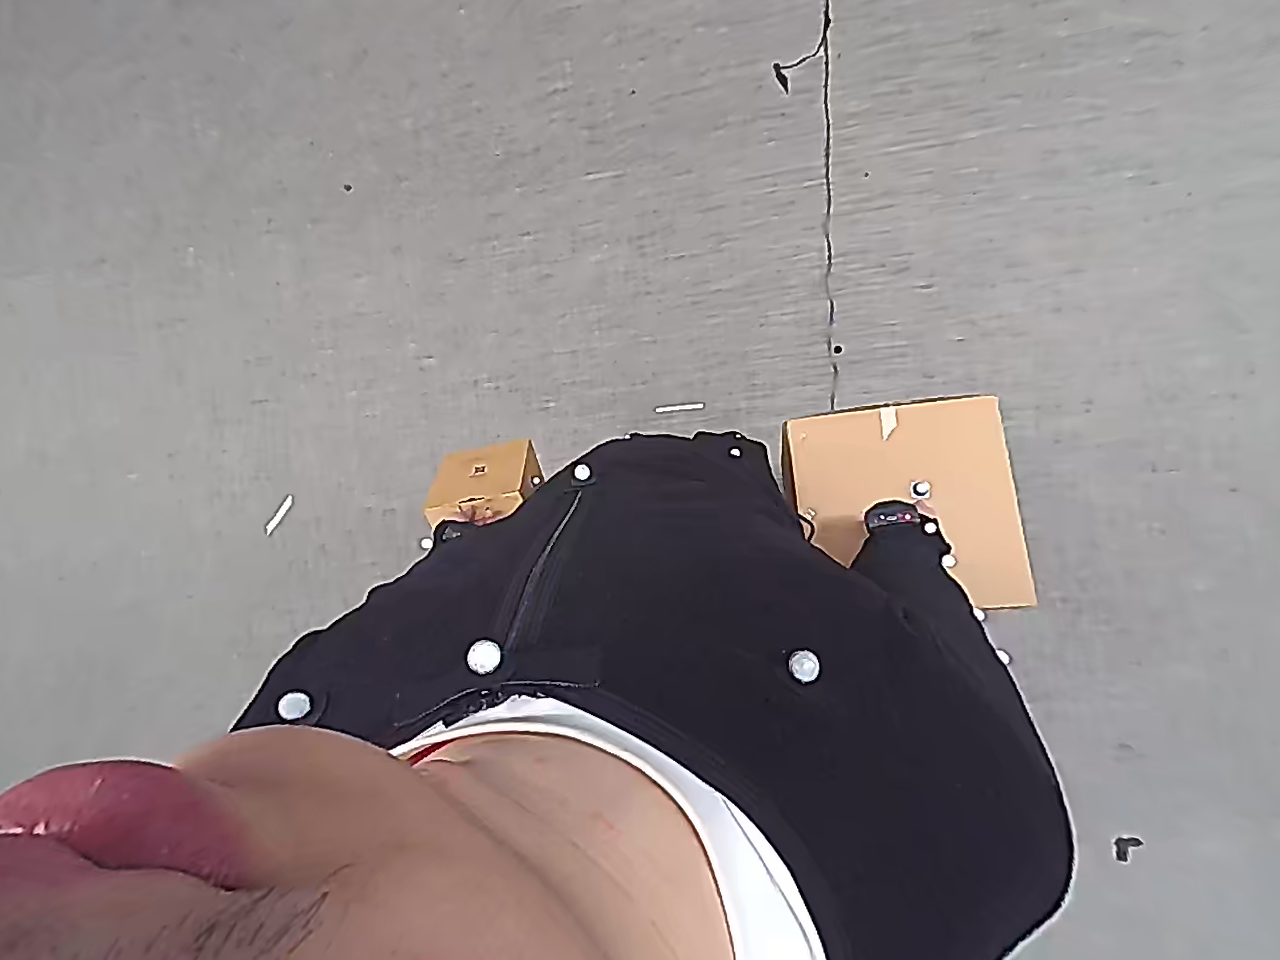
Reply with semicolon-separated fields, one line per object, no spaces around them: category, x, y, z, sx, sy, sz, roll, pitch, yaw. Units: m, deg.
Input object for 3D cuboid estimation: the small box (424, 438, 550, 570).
small box;-0.270;0.050;1.001;0.168;0.179;0.176;-10;125;2
